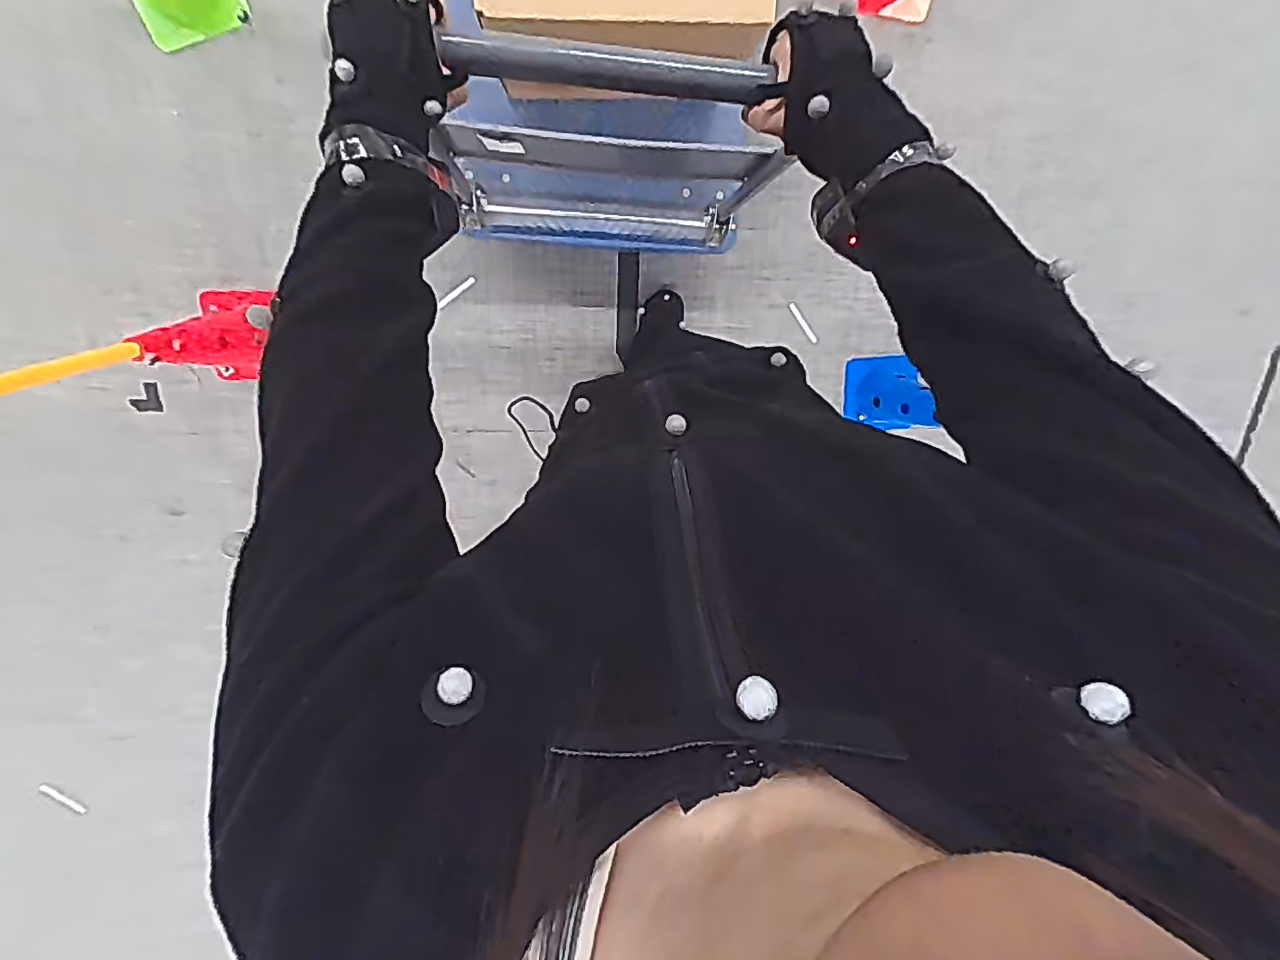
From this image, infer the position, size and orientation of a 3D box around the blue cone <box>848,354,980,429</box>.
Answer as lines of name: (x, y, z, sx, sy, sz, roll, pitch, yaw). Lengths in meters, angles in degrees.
blue cone: (0.660, -0.185, 1.281, 0.193, 0.380, 0.192, -4, 107, -5)

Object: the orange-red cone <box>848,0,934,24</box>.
orange-red cone: (0.562, -1.037, 0.975, 0.199, 0.360, 0.198, 6, 108, -9)
